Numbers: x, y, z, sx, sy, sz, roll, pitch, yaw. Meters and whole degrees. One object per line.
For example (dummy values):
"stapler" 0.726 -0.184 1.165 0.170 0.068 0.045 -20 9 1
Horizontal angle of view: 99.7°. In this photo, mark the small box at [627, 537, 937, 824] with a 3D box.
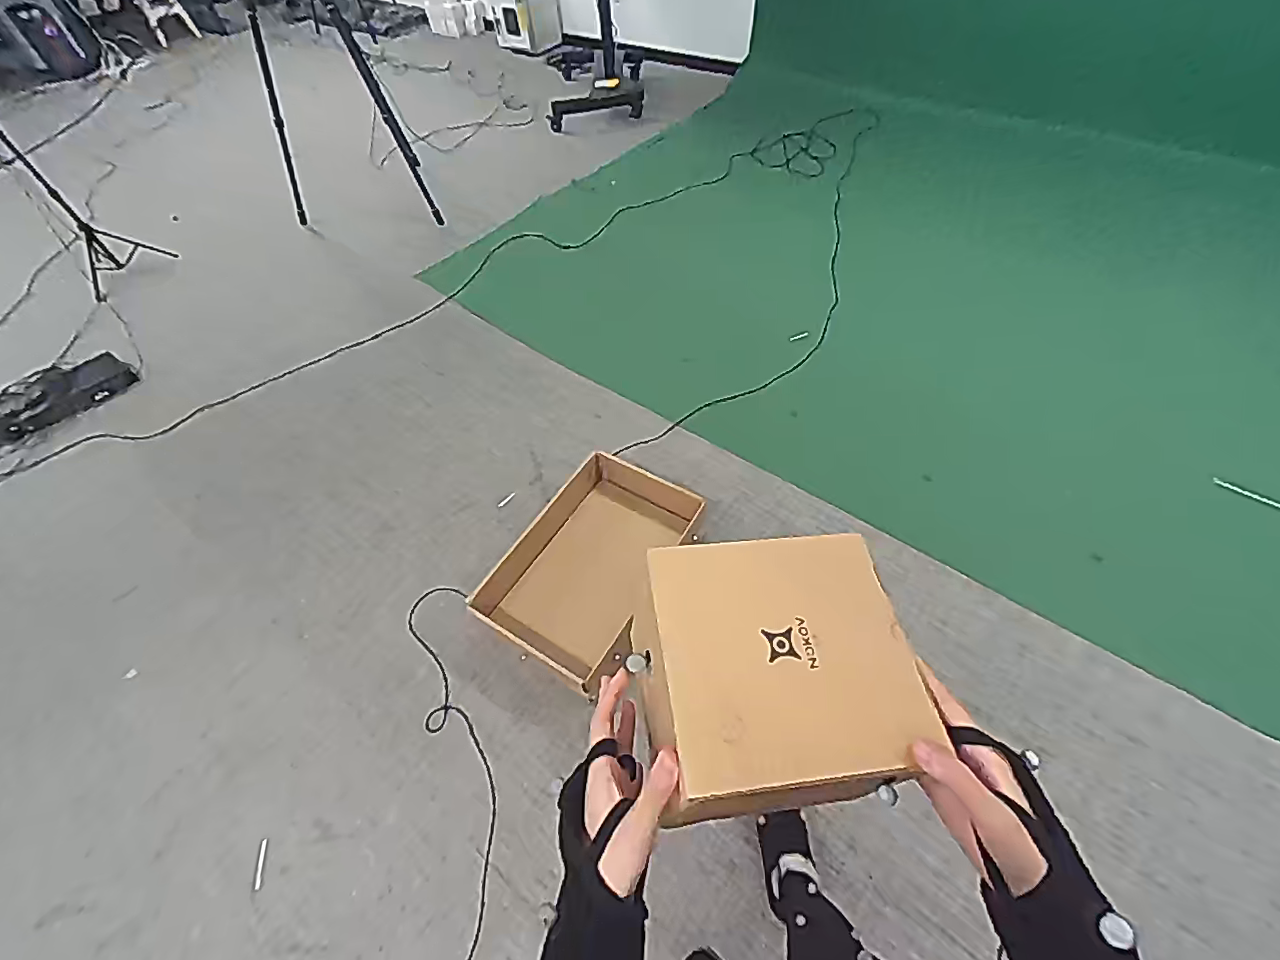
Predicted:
"small box" 0.084 0.163 0.434 0.179 0.176 0.168 -3 54 -10
